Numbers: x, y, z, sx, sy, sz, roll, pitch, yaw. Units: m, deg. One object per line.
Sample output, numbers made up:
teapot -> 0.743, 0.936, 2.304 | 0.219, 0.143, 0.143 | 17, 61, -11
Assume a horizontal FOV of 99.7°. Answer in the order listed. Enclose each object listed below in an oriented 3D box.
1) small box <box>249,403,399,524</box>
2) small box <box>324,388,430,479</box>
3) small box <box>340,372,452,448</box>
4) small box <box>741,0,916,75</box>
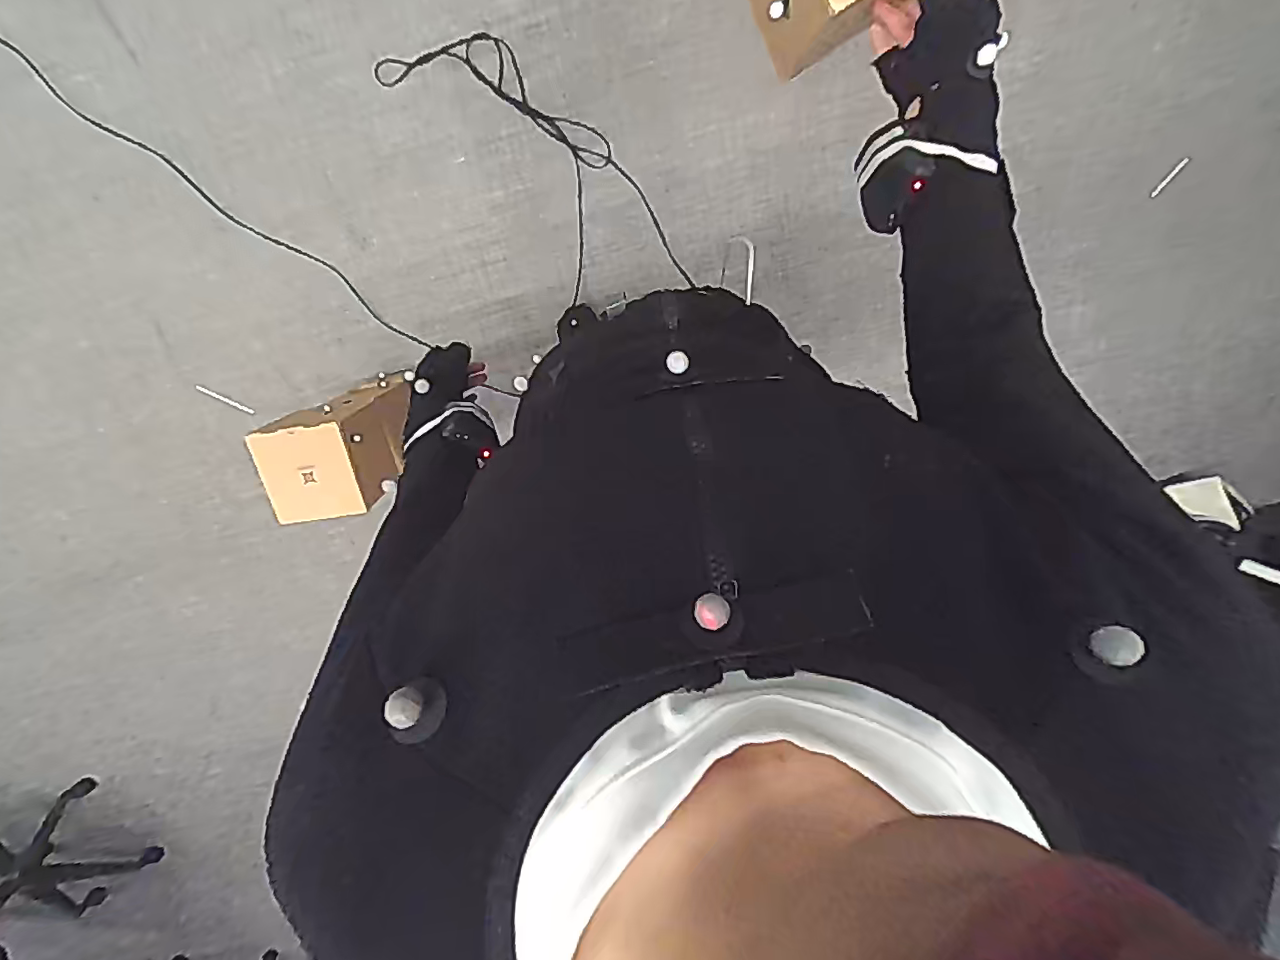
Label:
small box -> -0.593, -0.037, 1.043 | 0.168, 0.176, 0.179 | -8, 111, 0
small box -> -0.592, -0.097, 1.194 | 0.168, 0.176, 0.179 | -13, 113, 2
small box -> -0.597, -0.163, 1.347 | 0.168, 0.176, 0.179 | -15, 110, 6
small box -> 0.182, -0.509, 0.486 | 0.168, 0.176, 0.179 | -29, 108, 9
